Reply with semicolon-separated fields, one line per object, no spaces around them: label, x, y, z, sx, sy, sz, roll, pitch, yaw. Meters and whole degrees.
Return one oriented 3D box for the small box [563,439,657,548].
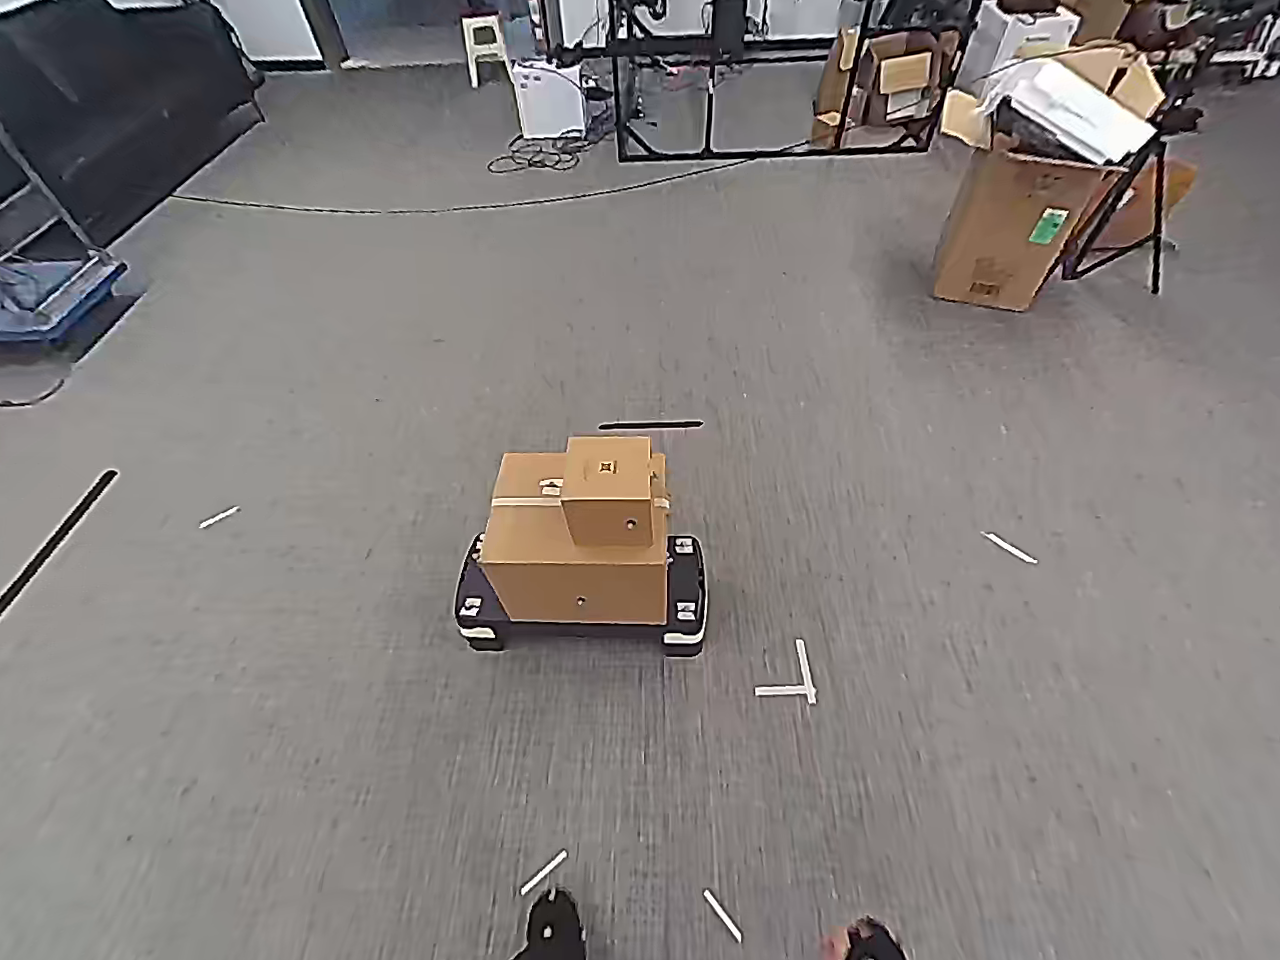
small box;-0.053;0.032;1.130;0.179;0.176;0.168;0;52;4

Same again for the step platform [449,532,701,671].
step platform;-0.171;0.330;1.518;0.684;0.204;0.286;4;51;7

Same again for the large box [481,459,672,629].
large box;-0.127;0.165;1.342;0.408;0.320;0.320;-1;50;4
